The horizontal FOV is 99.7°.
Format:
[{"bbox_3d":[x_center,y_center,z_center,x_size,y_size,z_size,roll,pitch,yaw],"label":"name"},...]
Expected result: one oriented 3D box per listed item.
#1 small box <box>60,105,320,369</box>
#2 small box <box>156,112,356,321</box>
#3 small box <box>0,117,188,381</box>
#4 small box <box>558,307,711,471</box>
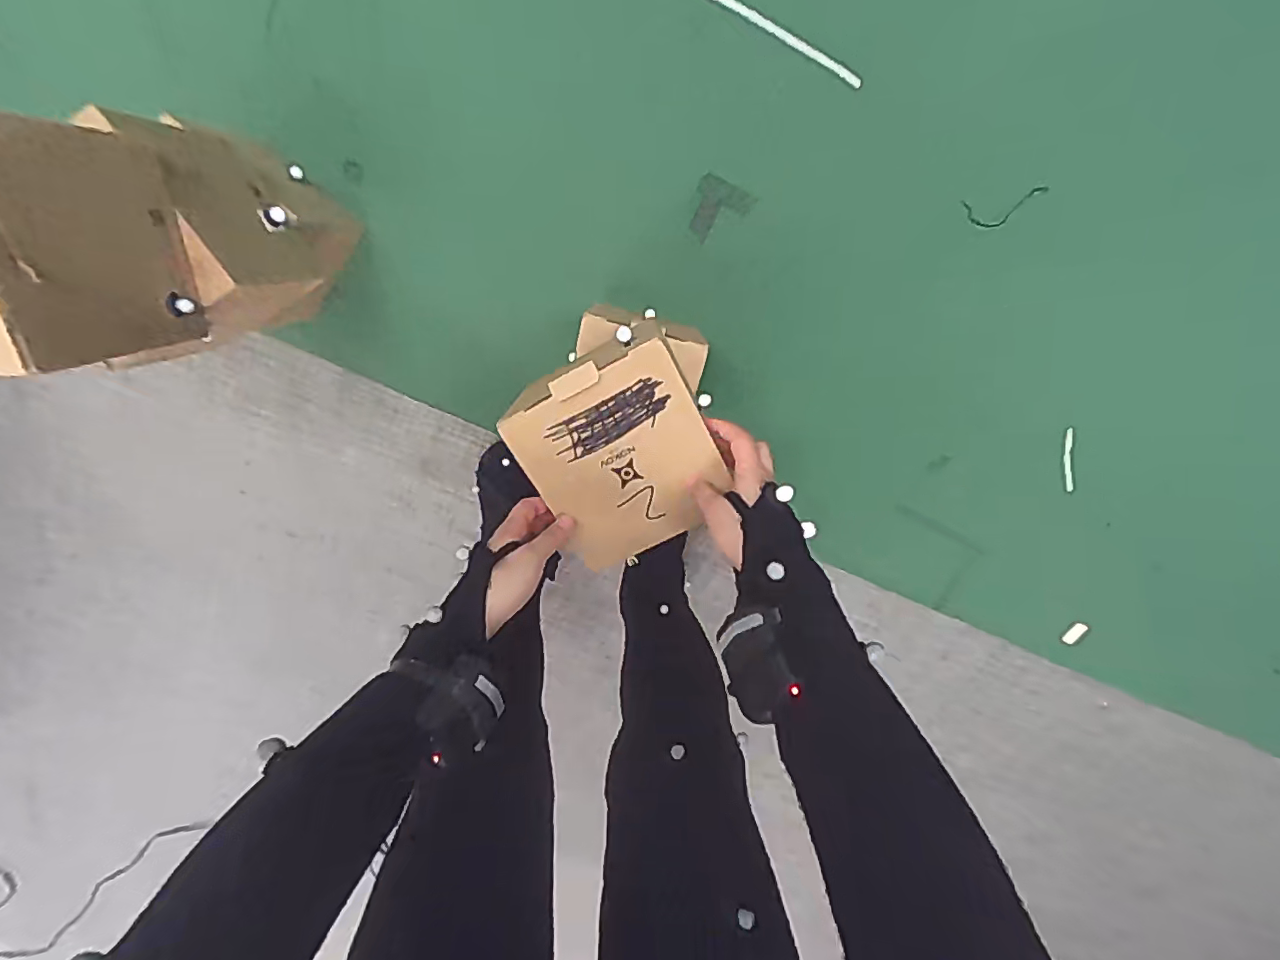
[{"bbox_3d":[-0.486,-0.240,0.561,0.179,0.176,0.168,-26,112,11],"label":"small box"},{"bbox_3d":[-0.510,-0.323,0.703,0.168,0.176,0.179,38,108,-15],"label":"small box"},{"bbox_3d":[-0.496,-0.178,0.409,0.179,0.176,0.168,2,115,1],"label":"small box"},{"bbox_3d":[-0.012,-0.138,0.774,0.168,0.176,0.179,14,112,-6],"label":"small box"}]
